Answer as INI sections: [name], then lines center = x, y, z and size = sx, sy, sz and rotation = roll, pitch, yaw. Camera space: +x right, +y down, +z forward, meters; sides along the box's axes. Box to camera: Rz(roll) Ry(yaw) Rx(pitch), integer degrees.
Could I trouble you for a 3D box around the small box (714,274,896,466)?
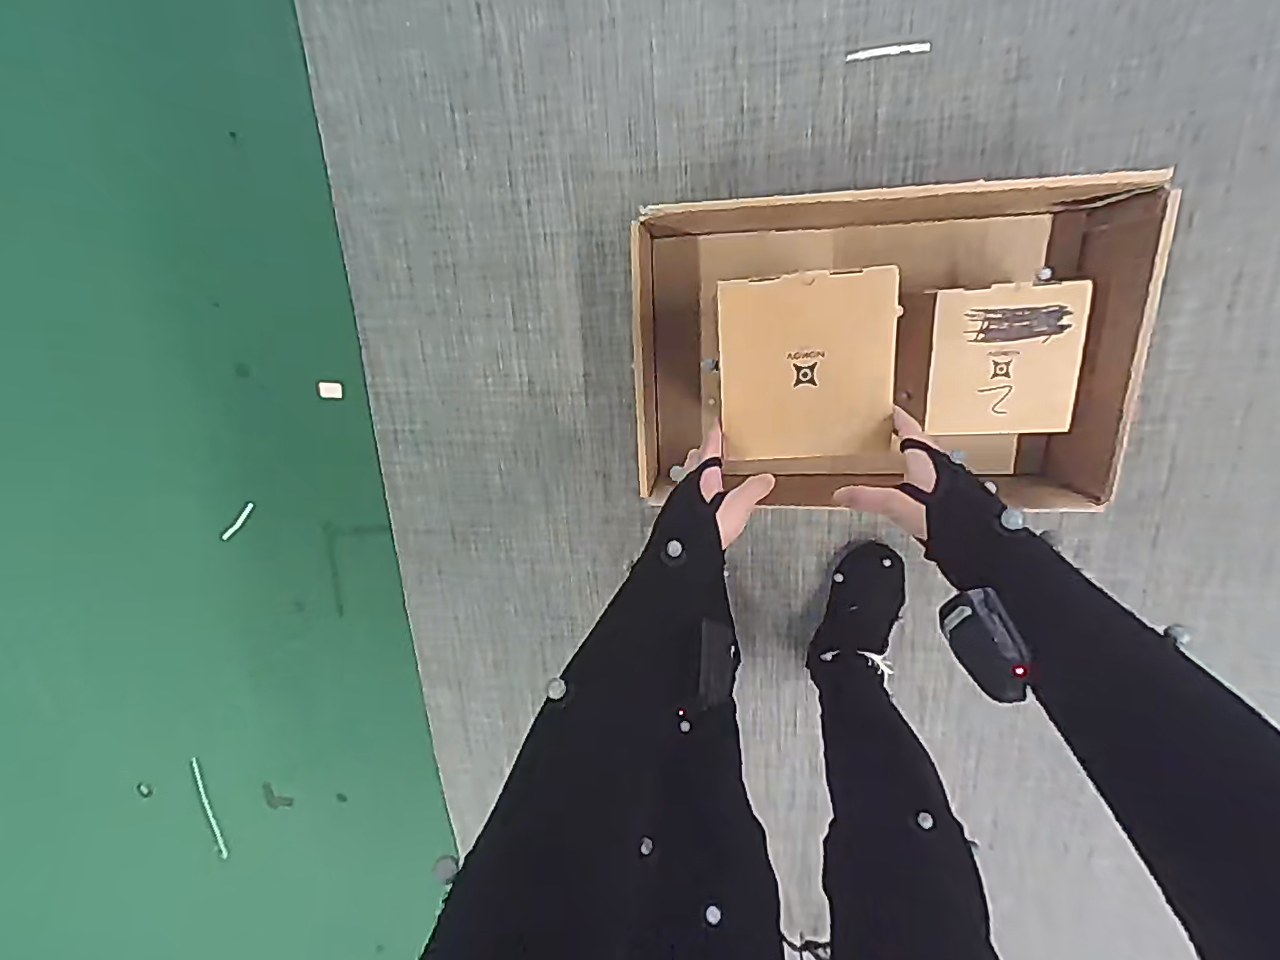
[small box]
center = 0.169, -0.121, 0.599
size = 0.168, 0.176, 0.179
rotation = -3, 103, 9
